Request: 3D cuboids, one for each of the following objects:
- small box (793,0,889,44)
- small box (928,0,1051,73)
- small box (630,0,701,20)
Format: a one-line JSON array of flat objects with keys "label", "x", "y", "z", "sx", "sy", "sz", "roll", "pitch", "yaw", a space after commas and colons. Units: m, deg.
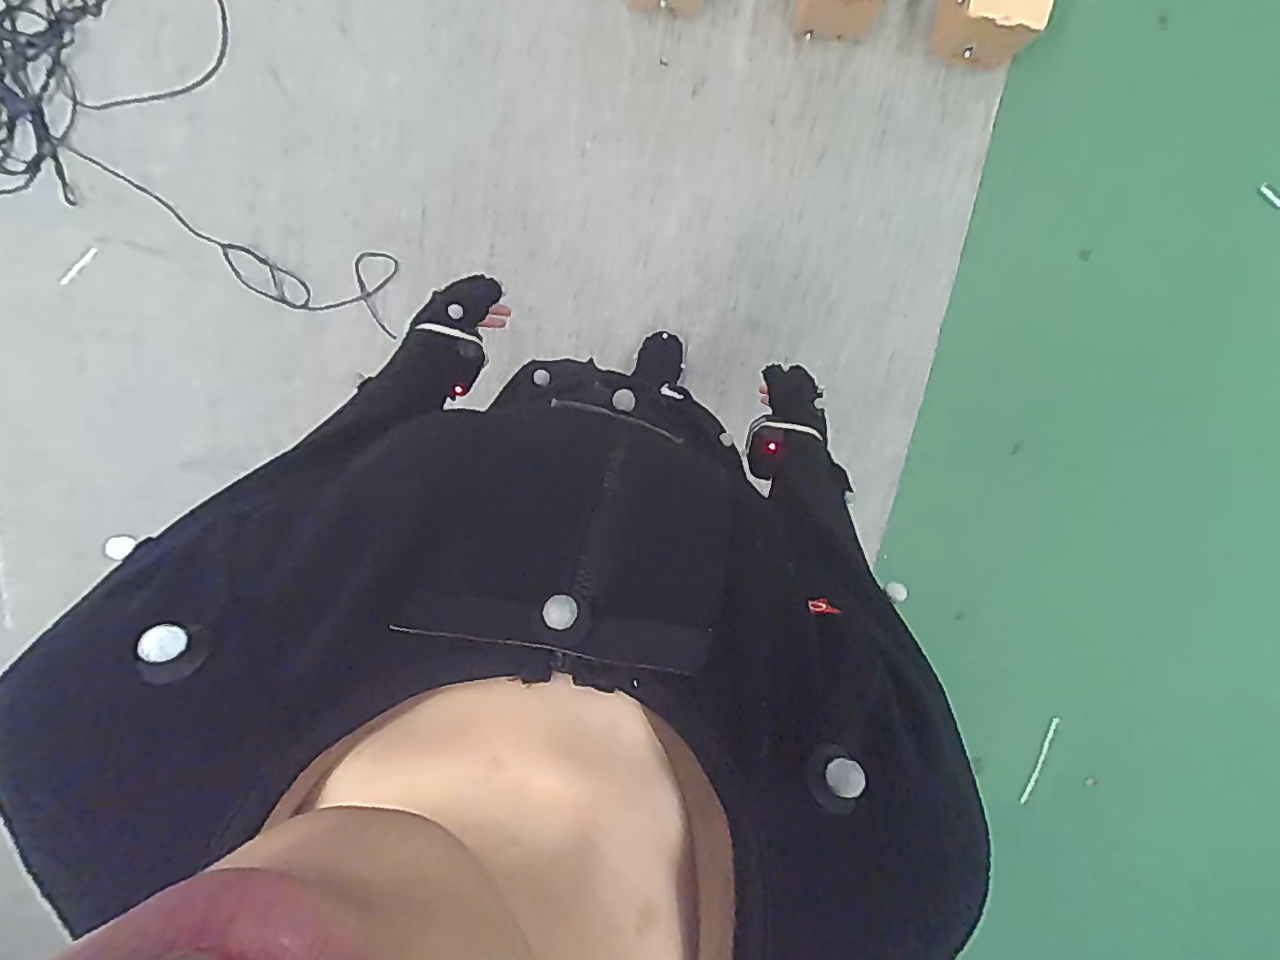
[{"label": "small box", "x": 0.433, "y": -1.073, "z": 1.149, "sx": 0.168, "sy": 0.176, "sz": 0.179, "roll": 5, "pitch": 103, "yaw": -1}, {"label": "small box", "x": 0.753, "y": -1.025, "z": 1.158, "sx": 0.168, "sy": 0.176, "sz": 0.179, "roll": 10, "pitch": 104, "yaw": -1}, {"label": "small box", "x": 0.062, "y": -1.128, "z": 1.138, "sx": 0.168, "sy": 0.176, "sz": 0.179, "roll": 7, "pitch": 104, "yaw": 0}]
